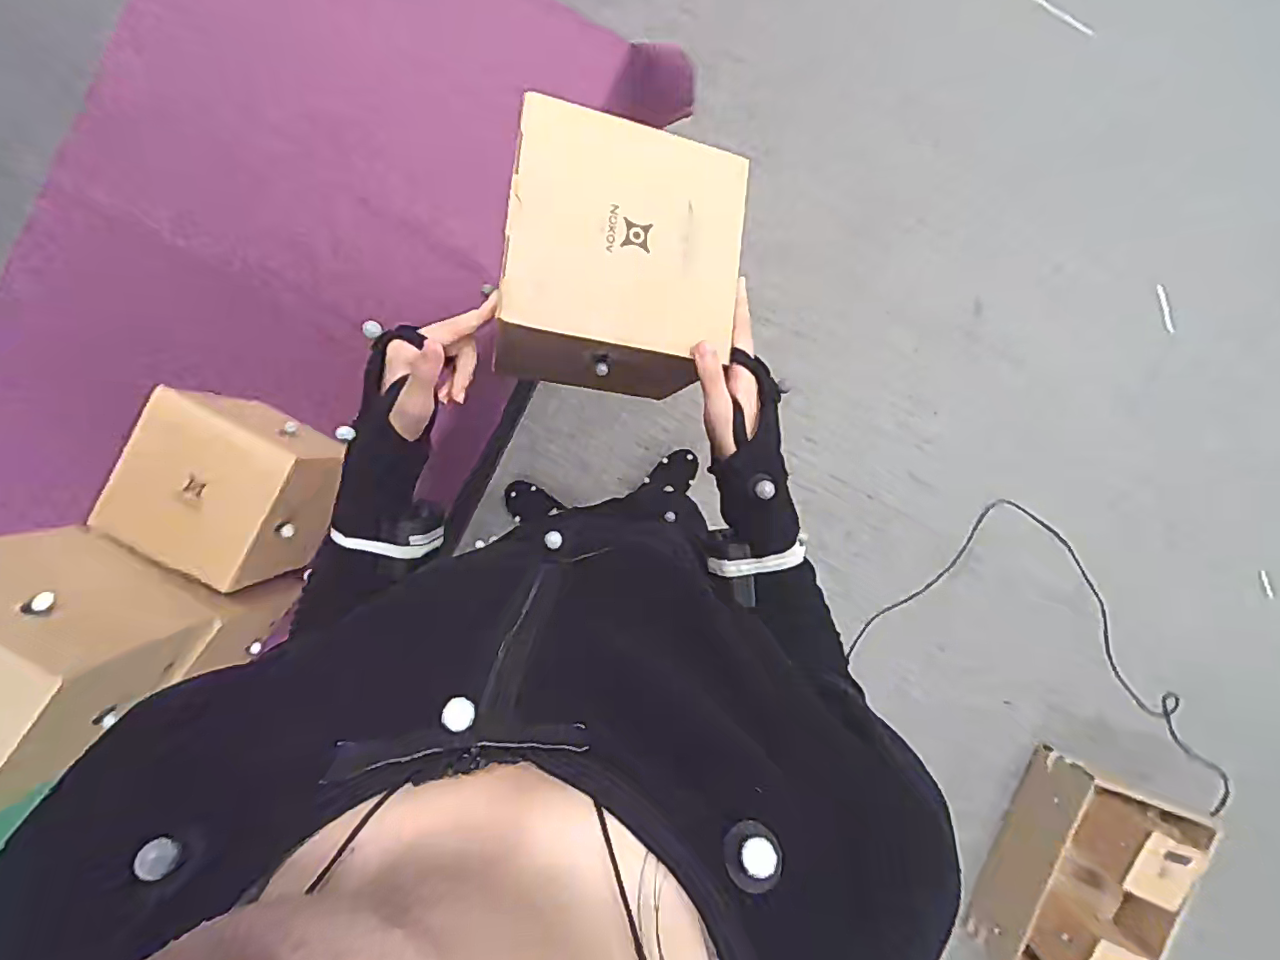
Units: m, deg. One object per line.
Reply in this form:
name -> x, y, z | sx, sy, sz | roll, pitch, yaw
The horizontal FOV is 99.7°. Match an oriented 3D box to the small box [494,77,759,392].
small box -> -0.024, -0.180, 0.461 | 0.179, 0.176, 0.168 | 9, 87, -18

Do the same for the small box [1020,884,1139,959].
small box -> 1.227, 1.299, 1.525 | 0.168, 0.176, 0.179 | 26, 91, -4

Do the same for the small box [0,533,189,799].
small box -> -0.582, 0.166, 0.493 | 0.179, 0.176, 0.168 | 37, 90, -6
